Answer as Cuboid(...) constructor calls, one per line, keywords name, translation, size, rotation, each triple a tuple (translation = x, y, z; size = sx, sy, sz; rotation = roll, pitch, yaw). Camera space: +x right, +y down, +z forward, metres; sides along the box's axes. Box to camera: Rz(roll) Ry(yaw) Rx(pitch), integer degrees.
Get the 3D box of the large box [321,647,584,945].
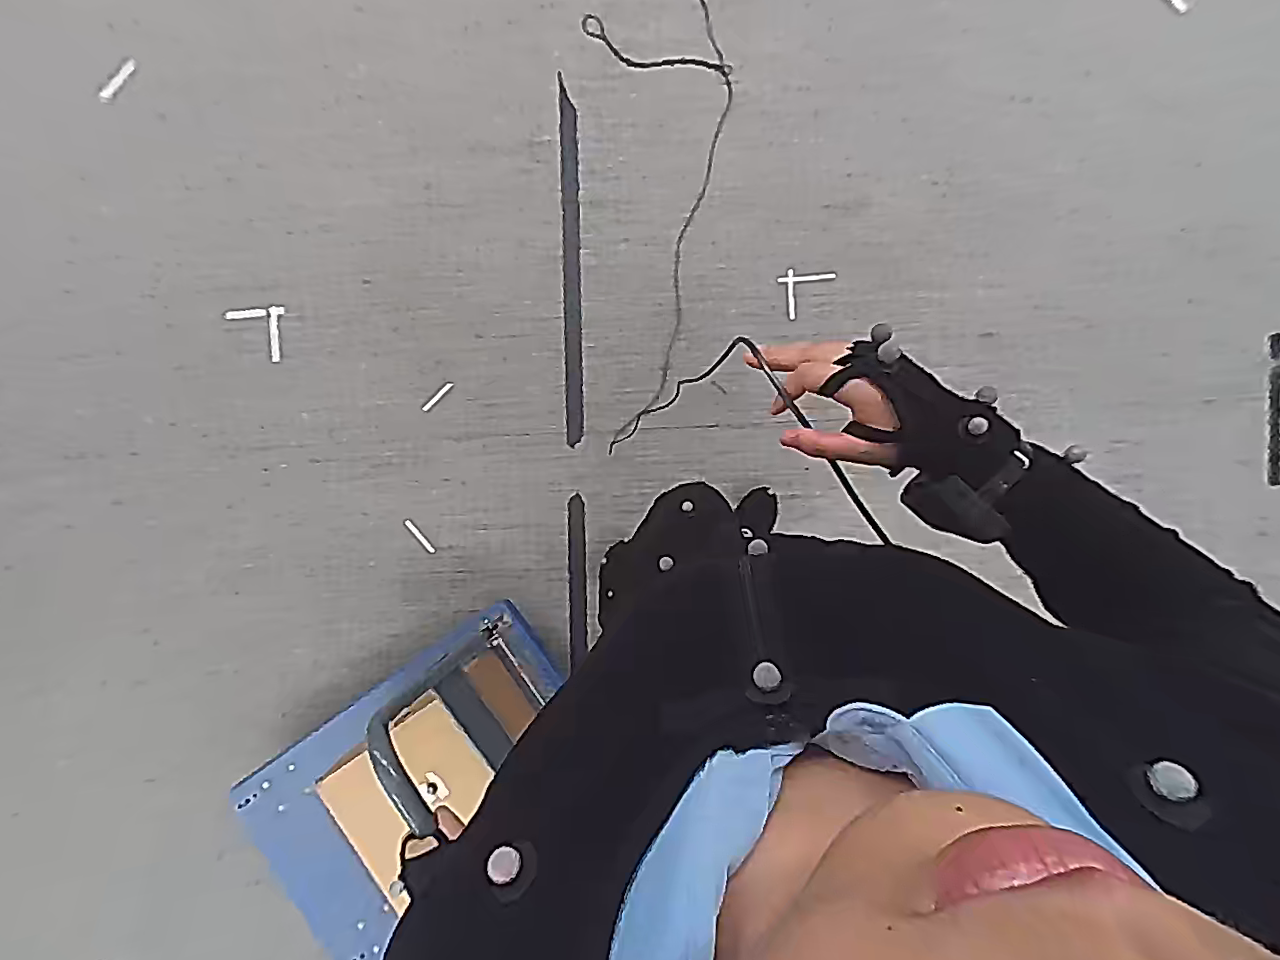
Cuboid(name="large box", translation=(-0.379, 0.656, 1.191), size=(0.320, 0.320, 0.408), rotation=(-36, 88, 1))
